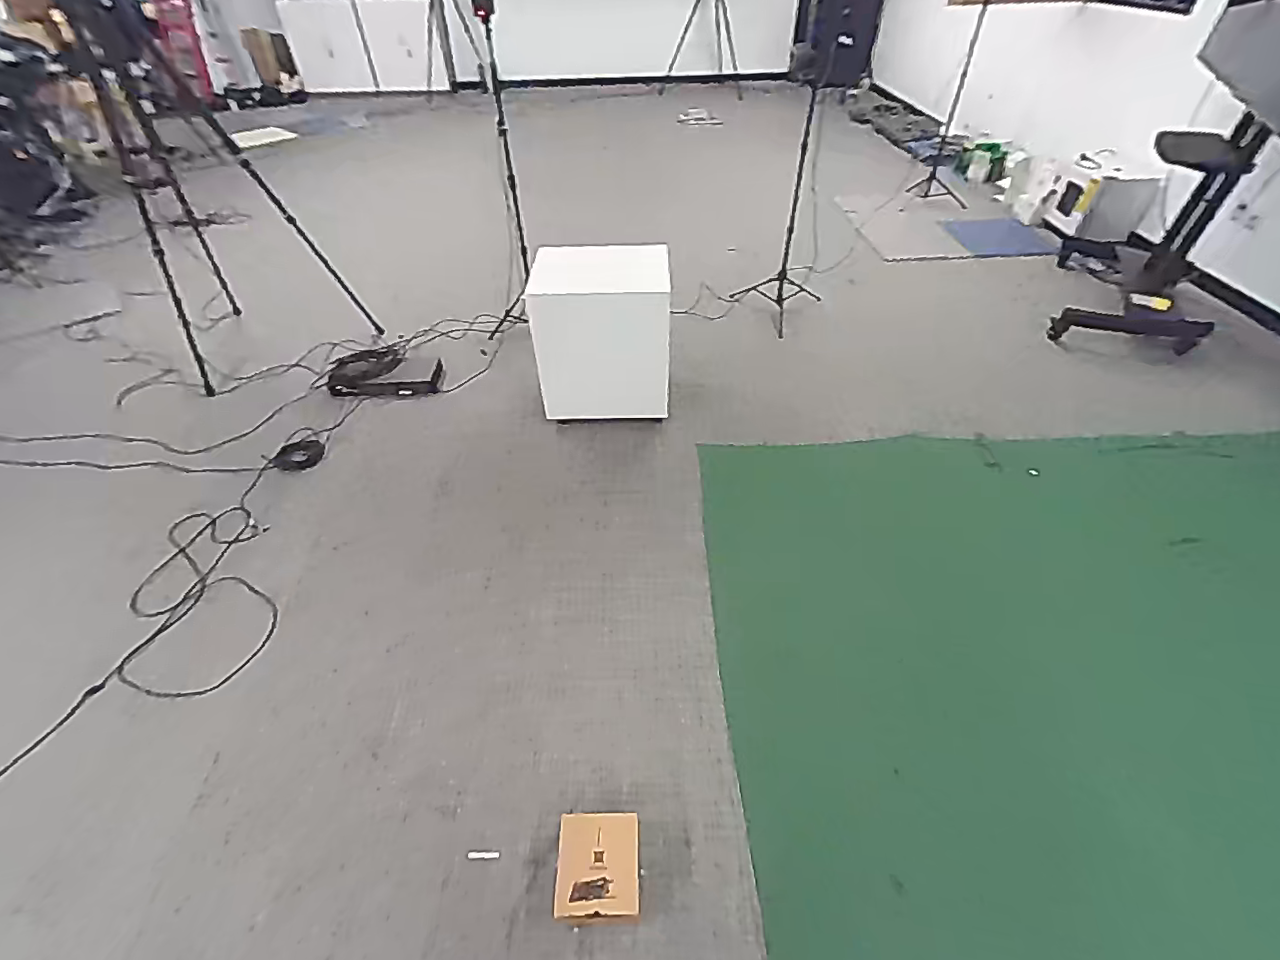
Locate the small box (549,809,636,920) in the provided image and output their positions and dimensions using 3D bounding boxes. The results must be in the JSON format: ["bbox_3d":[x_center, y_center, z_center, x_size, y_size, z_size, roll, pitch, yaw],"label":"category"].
[{"bbox_3d":[-0.093,0.822,1.153,0.168,0.176,0.179,-1,45,0],"label":"small box"}]
